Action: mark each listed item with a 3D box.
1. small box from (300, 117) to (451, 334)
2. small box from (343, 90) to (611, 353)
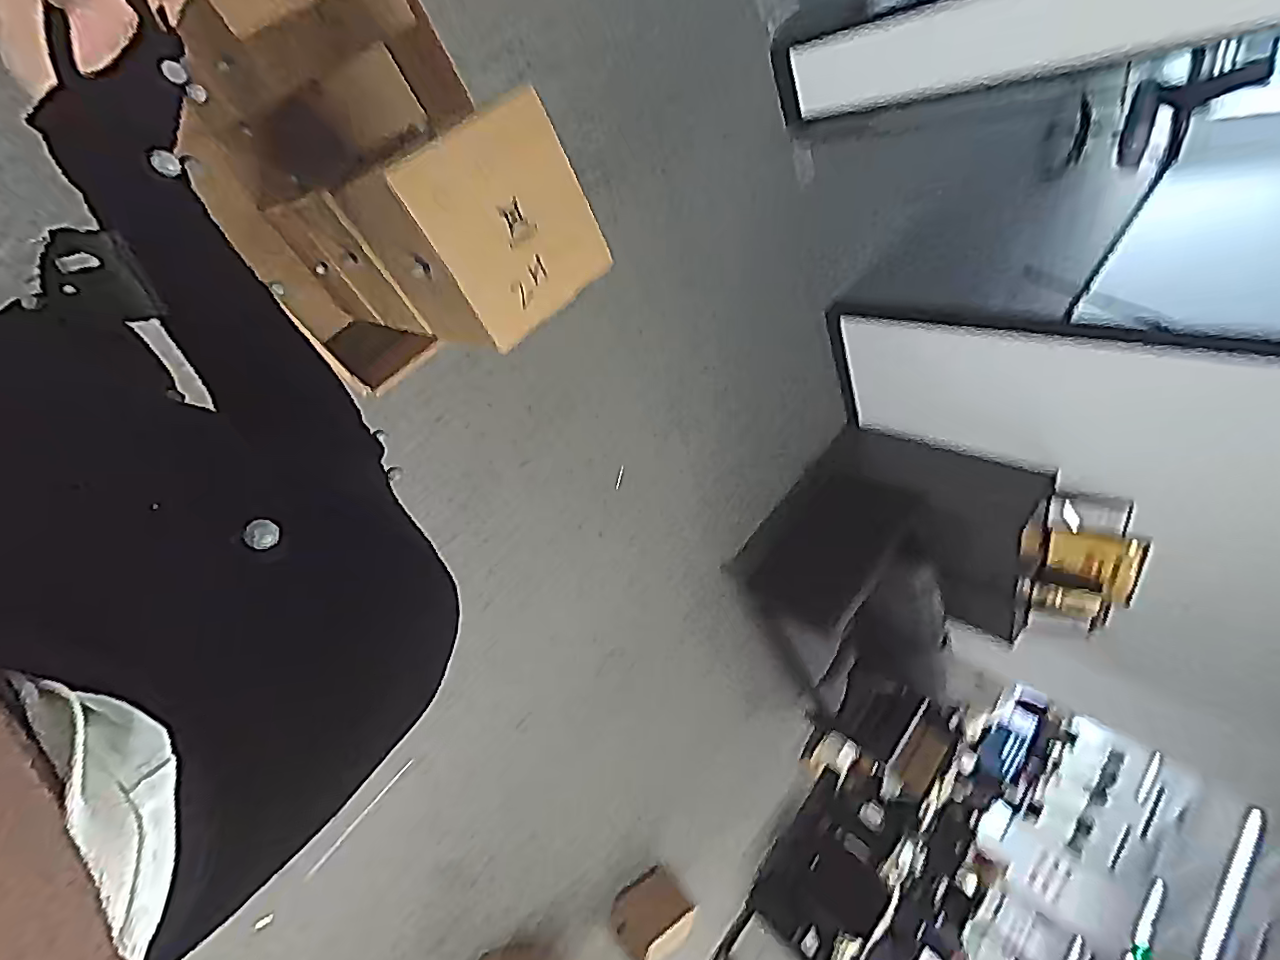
[{"bbox_3d":[-0.282,-0.304,0.671,0.168,0.176,0.179,-46,131,-18],"label":"small box"},{"bbox_3d":[-0.168,-0.256,0.560,0.168,0.176,0.179,-45,132,-19],"label":"small box"}]
